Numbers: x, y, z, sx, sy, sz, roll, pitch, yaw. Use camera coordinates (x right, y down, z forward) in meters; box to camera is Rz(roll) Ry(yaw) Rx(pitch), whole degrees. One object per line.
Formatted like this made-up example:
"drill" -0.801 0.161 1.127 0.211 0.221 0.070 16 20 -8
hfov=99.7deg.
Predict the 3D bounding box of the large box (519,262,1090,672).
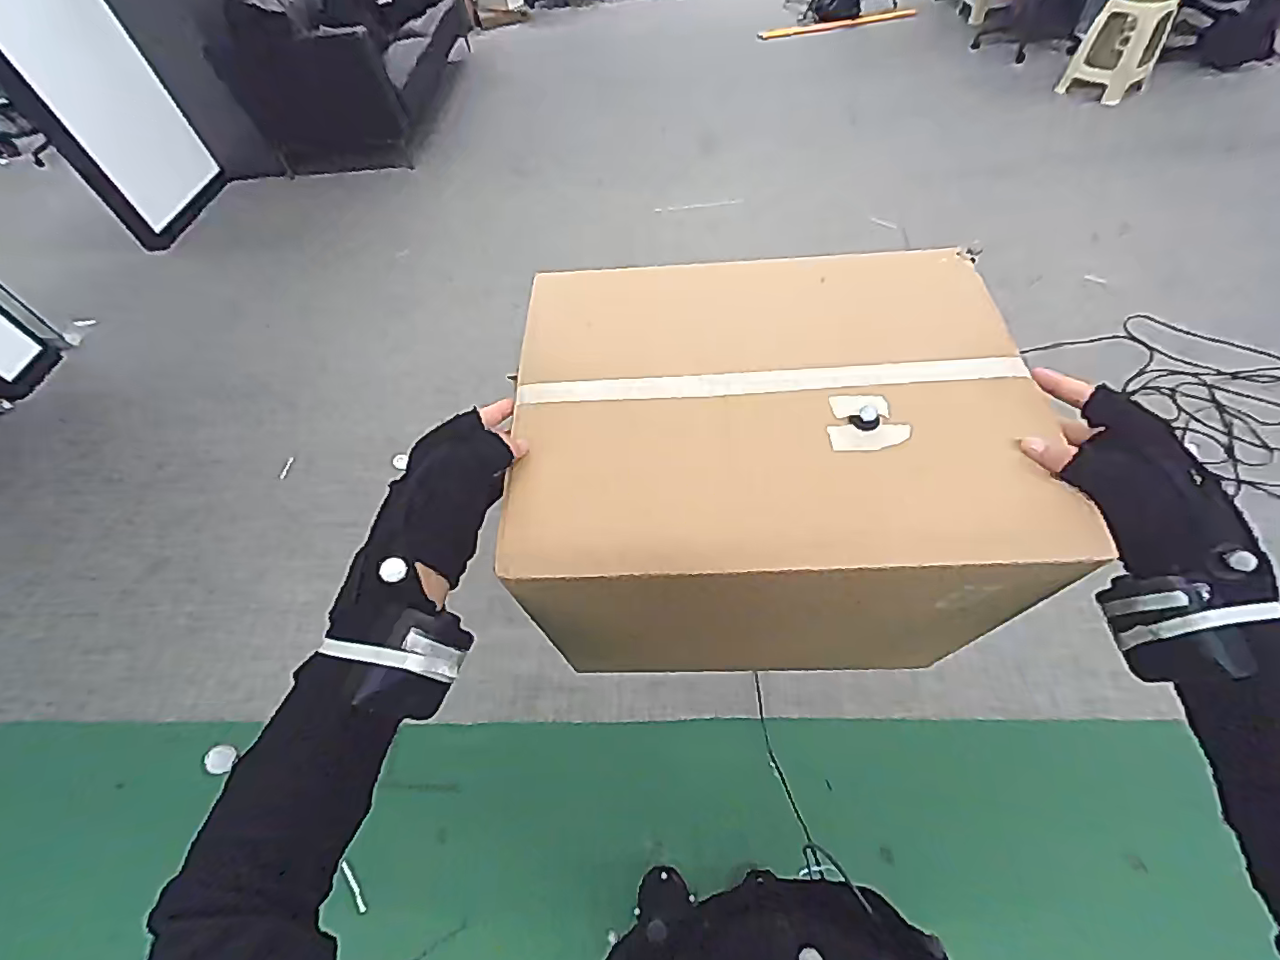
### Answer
"large box" 0.113 0.007 0.576 0.408 0.320 0.320 -3 59 2
